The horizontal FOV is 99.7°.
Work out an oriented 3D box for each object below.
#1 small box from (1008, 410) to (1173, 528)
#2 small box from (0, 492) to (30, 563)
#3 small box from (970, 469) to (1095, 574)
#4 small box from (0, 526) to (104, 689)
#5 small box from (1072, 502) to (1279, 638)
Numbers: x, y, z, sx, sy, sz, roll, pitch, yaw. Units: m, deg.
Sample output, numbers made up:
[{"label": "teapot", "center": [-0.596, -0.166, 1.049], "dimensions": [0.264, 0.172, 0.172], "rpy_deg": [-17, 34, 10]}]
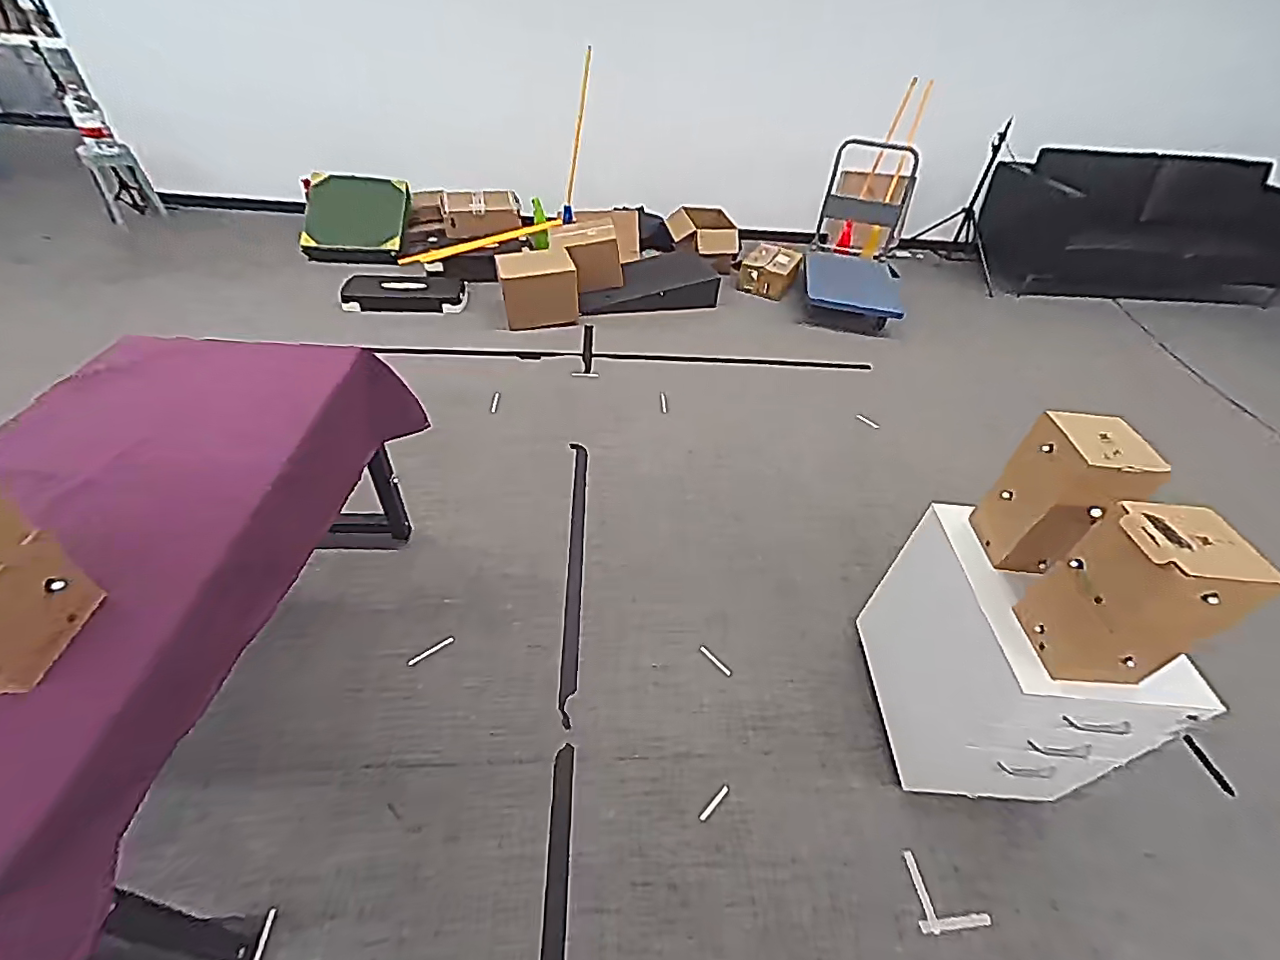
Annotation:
[{"label": "small box", "center": [0.917, -0.021, 1.126], "dimensions": [0.168, 0.176, 0.179], "rpy_deg": [5, 44, 0]}, {"label": "small box", "center": [-0.920, 0.061, 0.638], "dimensions": [0.179, 0.176, 0.168], "rpy_deg": [1, 42, -7]}, {"label": "small box", "center": [0.908, 0.098, 1.240], "dimensions": [0.179, 0.176, 0.168], "rpy_deg": [7, 43, -1]}, {"label": "small box", "center": [-0.927, 0.177, 0.751], "dimensions": [0.179, 0.176, 0.168], "rpy_deg": [1, 43, -5]}, {"label": "small box", "center": [0.905, 0.158, 0.938], "dimensions": [0.179, 0.176, 0.168], "rpy_deg": [5, 43, -3]}]
